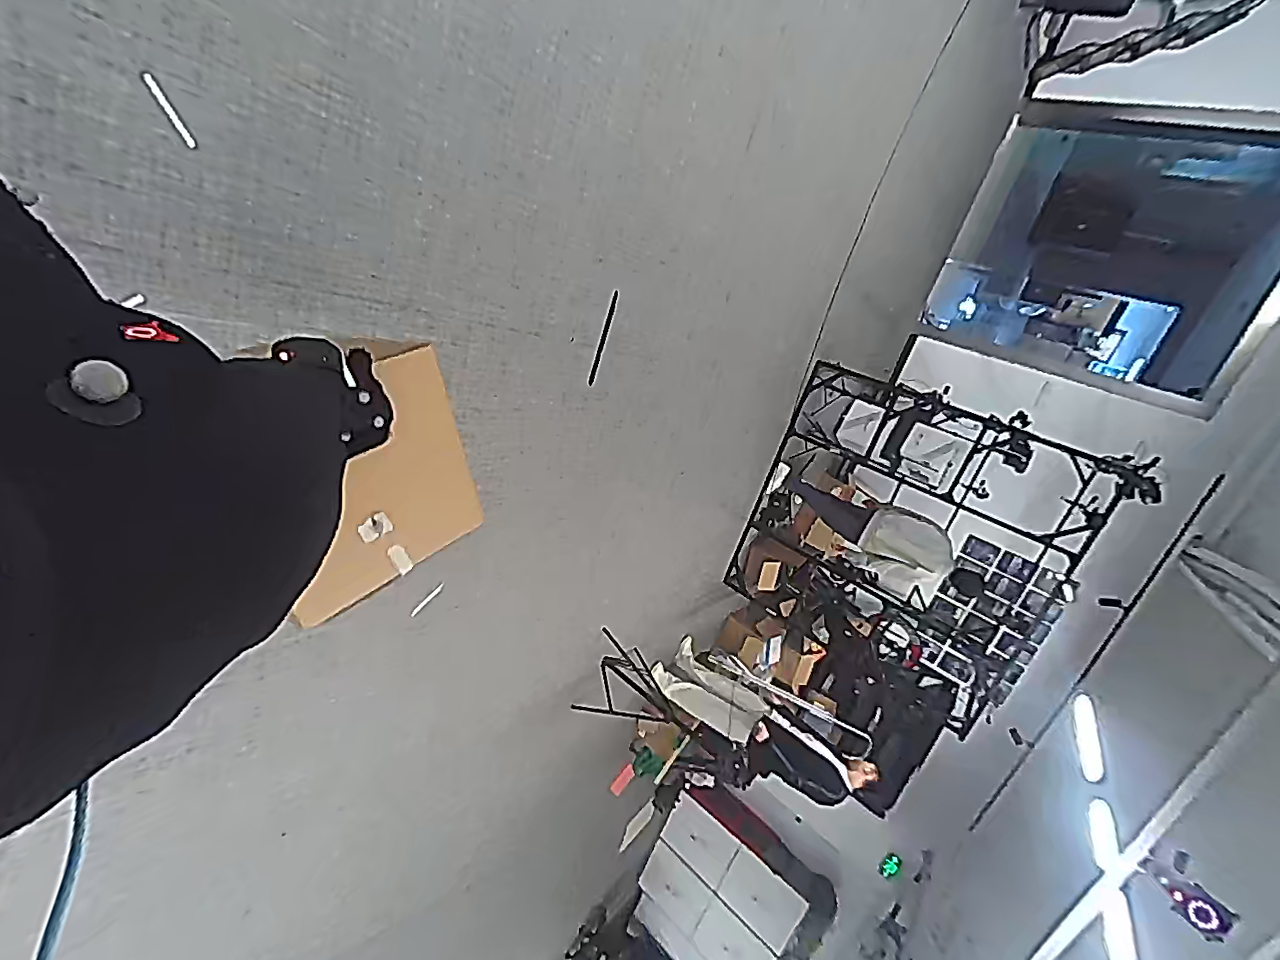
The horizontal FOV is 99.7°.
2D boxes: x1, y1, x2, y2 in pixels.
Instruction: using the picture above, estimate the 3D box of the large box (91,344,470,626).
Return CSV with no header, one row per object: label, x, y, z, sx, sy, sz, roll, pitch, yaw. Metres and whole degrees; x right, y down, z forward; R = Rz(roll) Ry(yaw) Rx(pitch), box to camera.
large box,-0.551,-0.025,0.865,0.320,0.408,0.320,-36,127,-45
